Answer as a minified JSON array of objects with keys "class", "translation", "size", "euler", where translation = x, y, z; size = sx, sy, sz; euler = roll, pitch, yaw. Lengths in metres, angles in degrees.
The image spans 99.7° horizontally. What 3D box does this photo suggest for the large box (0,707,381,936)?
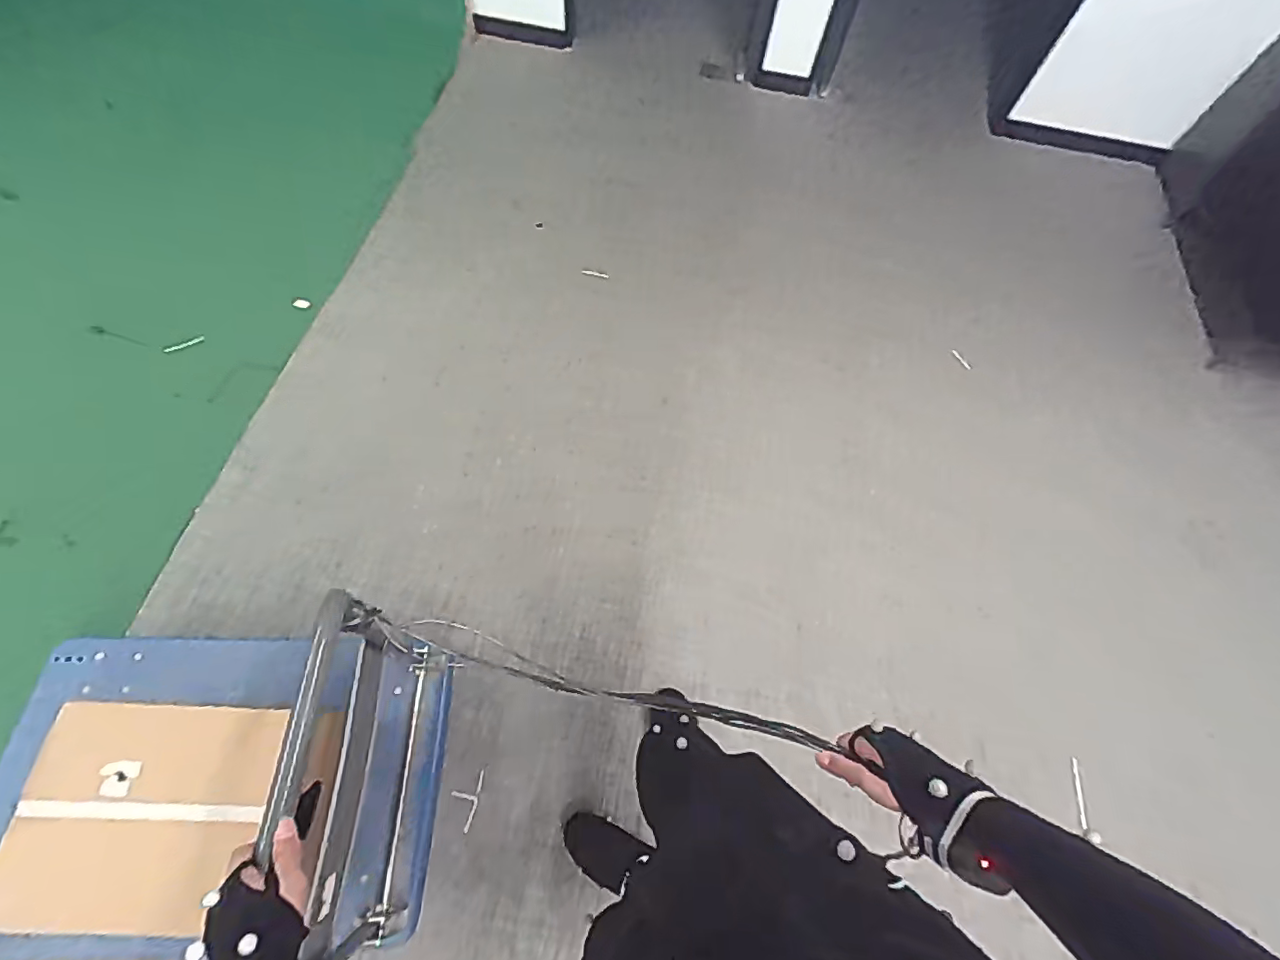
[{"class":"large box","translation":[-0.763,0.595,1.000],"size":[0.408,0.320,0.320],"euler":[3,65,-3]}]
